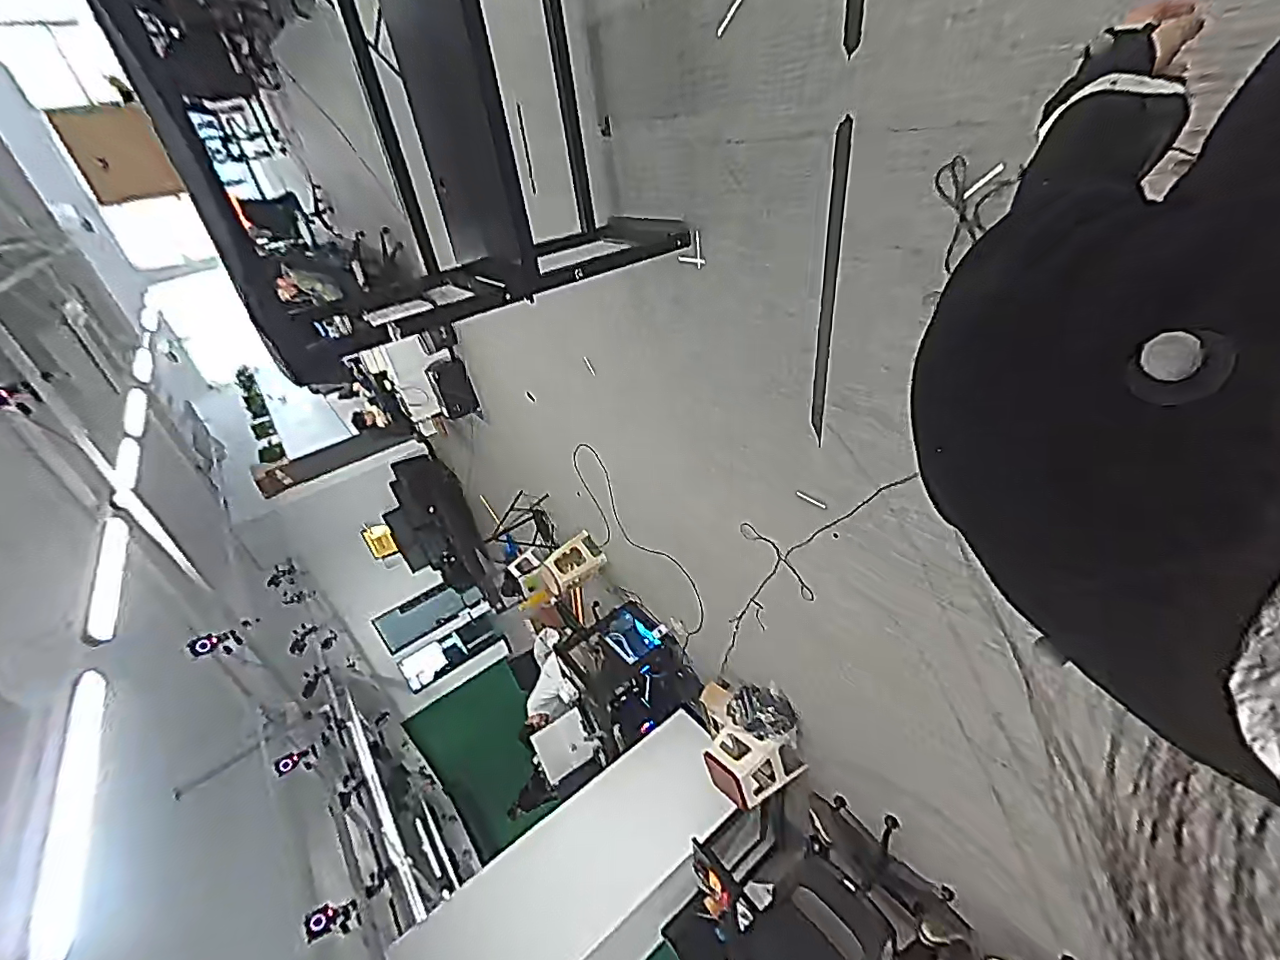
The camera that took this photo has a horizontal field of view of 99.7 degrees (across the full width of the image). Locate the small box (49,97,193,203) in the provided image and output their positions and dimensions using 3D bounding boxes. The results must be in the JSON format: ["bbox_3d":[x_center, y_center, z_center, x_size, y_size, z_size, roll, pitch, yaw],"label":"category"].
[{"bbox_3d":[-1.144,-0.735,1.214,0.168,0.176,0.179,32,141,47],"label":"small box"}]
